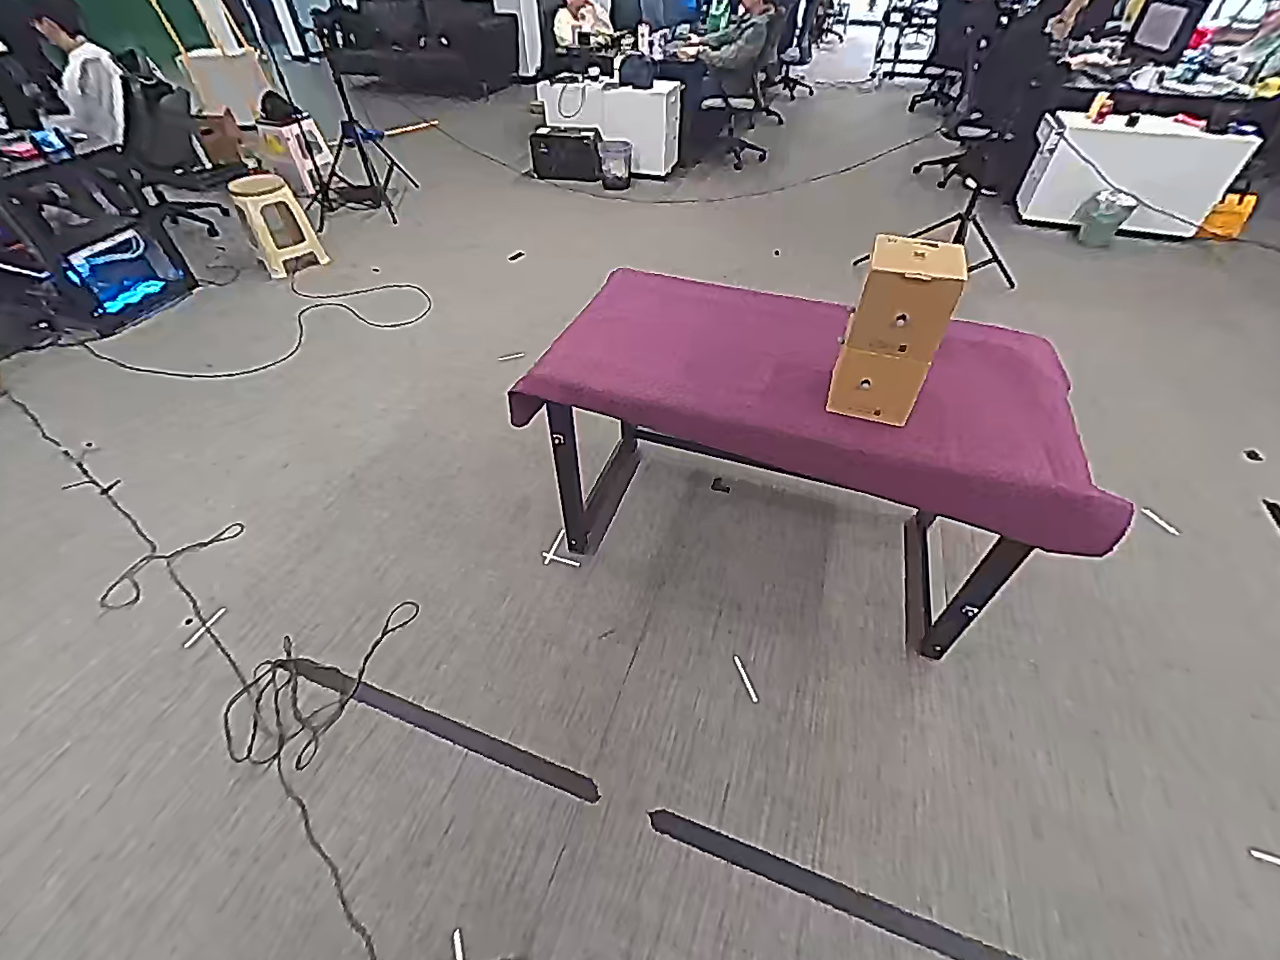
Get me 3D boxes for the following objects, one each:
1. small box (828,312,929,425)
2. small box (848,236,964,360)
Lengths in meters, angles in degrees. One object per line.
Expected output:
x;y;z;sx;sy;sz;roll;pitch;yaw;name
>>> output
0.524;-0.246;1.196;0.168;0.176;0.179;14;47;14;small box
0.526;-0.363;1.082;0.168;0.176;0.179;15;48;15;small box
